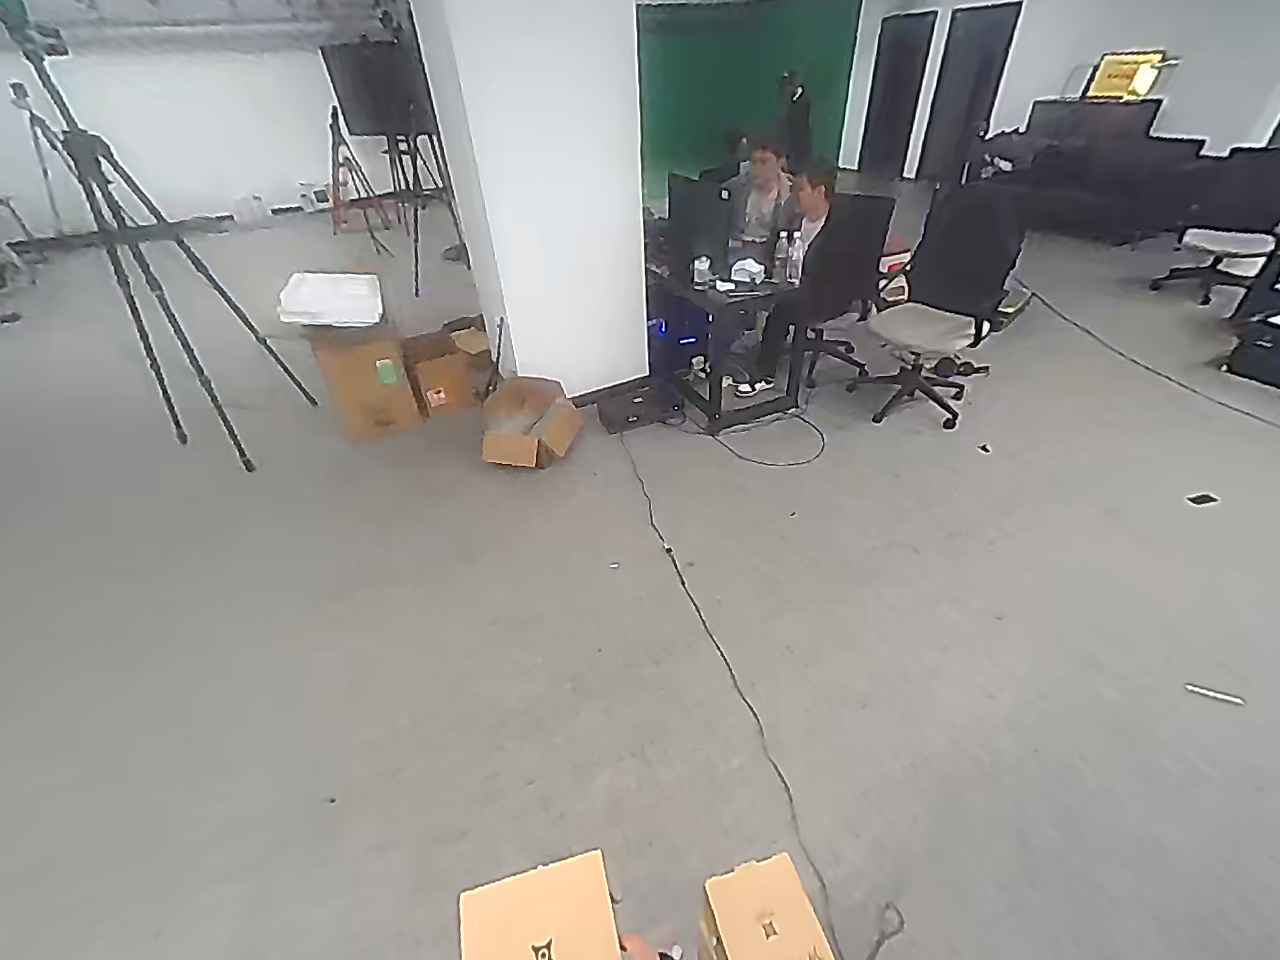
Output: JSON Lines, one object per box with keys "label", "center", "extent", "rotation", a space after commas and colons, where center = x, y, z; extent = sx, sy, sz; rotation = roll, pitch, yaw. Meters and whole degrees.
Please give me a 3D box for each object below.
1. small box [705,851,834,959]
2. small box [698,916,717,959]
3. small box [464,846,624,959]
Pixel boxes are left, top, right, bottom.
{"label": "small box", "center": [0.217, 0.804, 0.951], "extent": [0.168, 0.176, 0.179], "rotation": [-12, 37, -10]}
{"label": "small box", "center": [0.227, 0.932, 1.052], "extent": [0.179, 0.176, 0.168], "rotation": [-17, 39, -16]}
{"label": "small box", "center": [-0.107, 0.567, 0.633], "extent": [0.168, 0.176, 0.179], "rotation": [-9, 49, -13]}
